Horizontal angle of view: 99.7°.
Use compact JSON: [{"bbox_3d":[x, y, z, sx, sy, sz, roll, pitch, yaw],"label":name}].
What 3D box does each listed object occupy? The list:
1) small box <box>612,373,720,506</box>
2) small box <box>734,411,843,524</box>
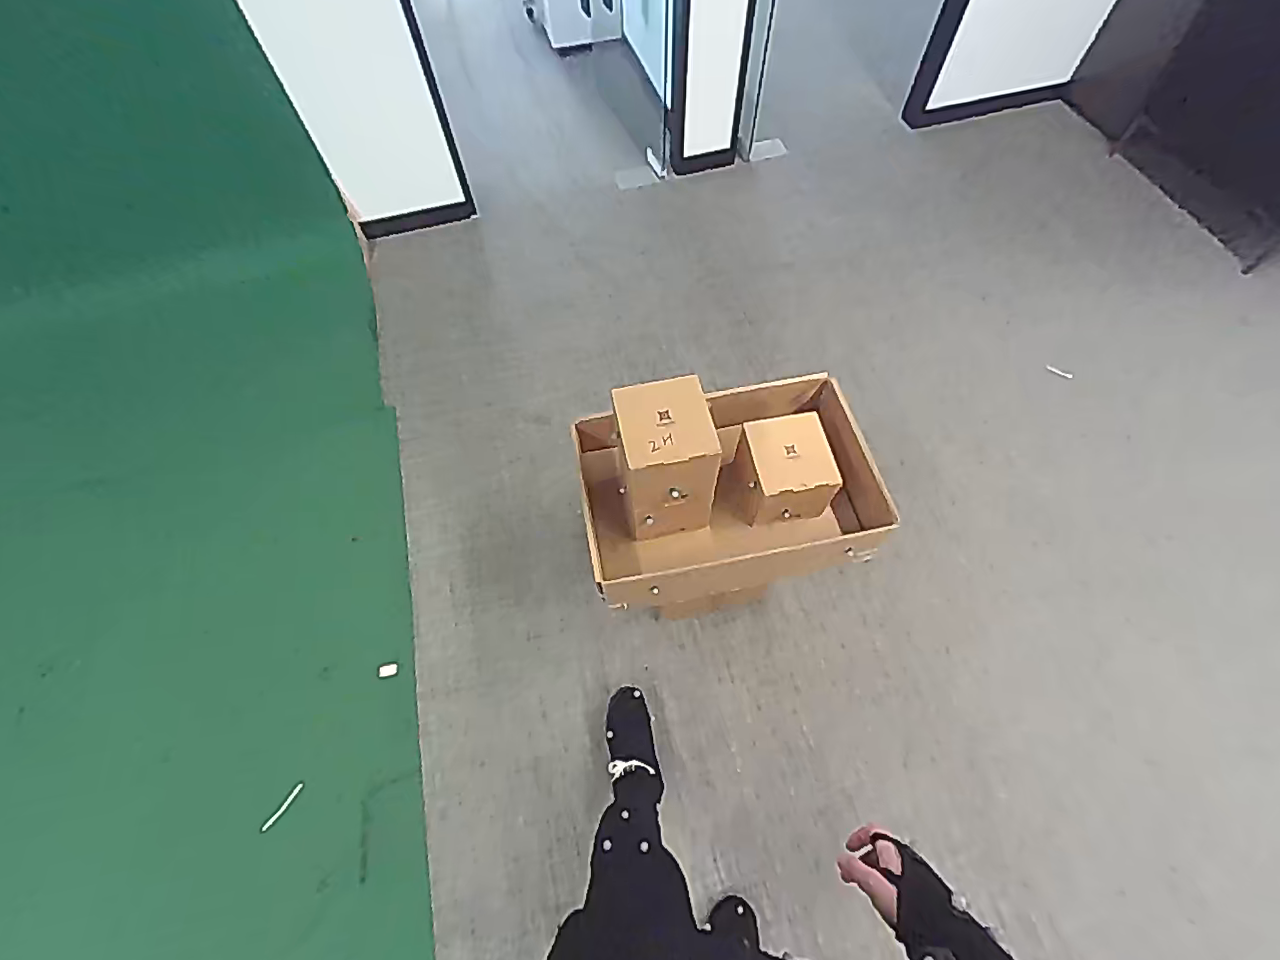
[{"bbox_3d":[0.043,-0.073,1.021,0.168,0.176,0.179,-11,62,-4],"label":"small box"},{"bbox_3d":[0.312,-0.024,1.177,0.168,0.176,0.179,-10,63,-4],"label":"small box"}]
